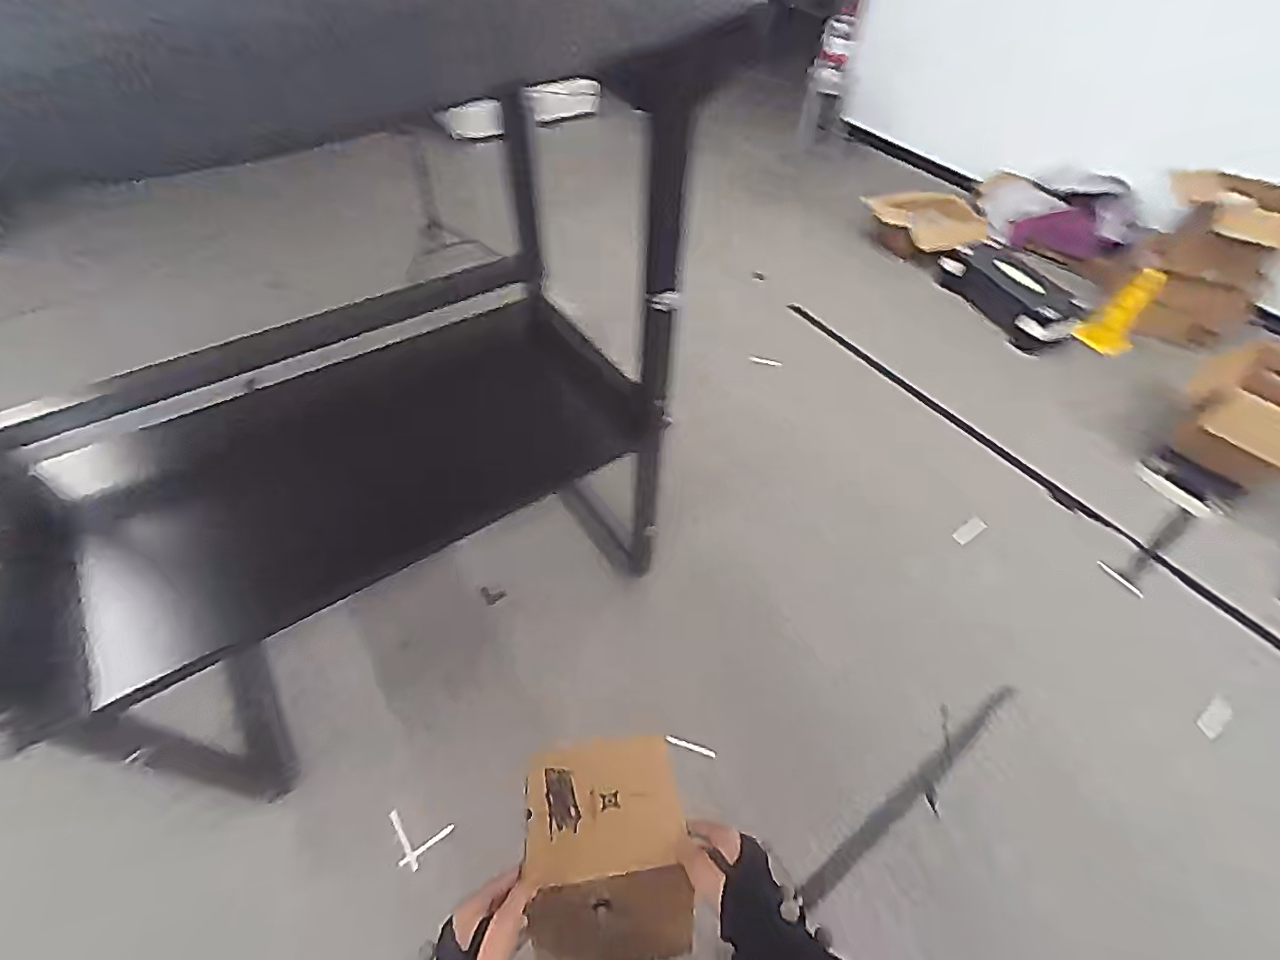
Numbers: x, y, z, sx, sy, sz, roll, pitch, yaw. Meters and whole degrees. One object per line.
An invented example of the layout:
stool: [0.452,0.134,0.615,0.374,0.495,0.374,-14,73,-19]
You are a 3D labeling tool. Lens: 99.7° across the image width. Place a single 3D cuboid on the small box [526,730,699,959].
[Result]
small box: [-0.033,0.428,0.631,0.179,0.176,0.168,-4,23,-8]
